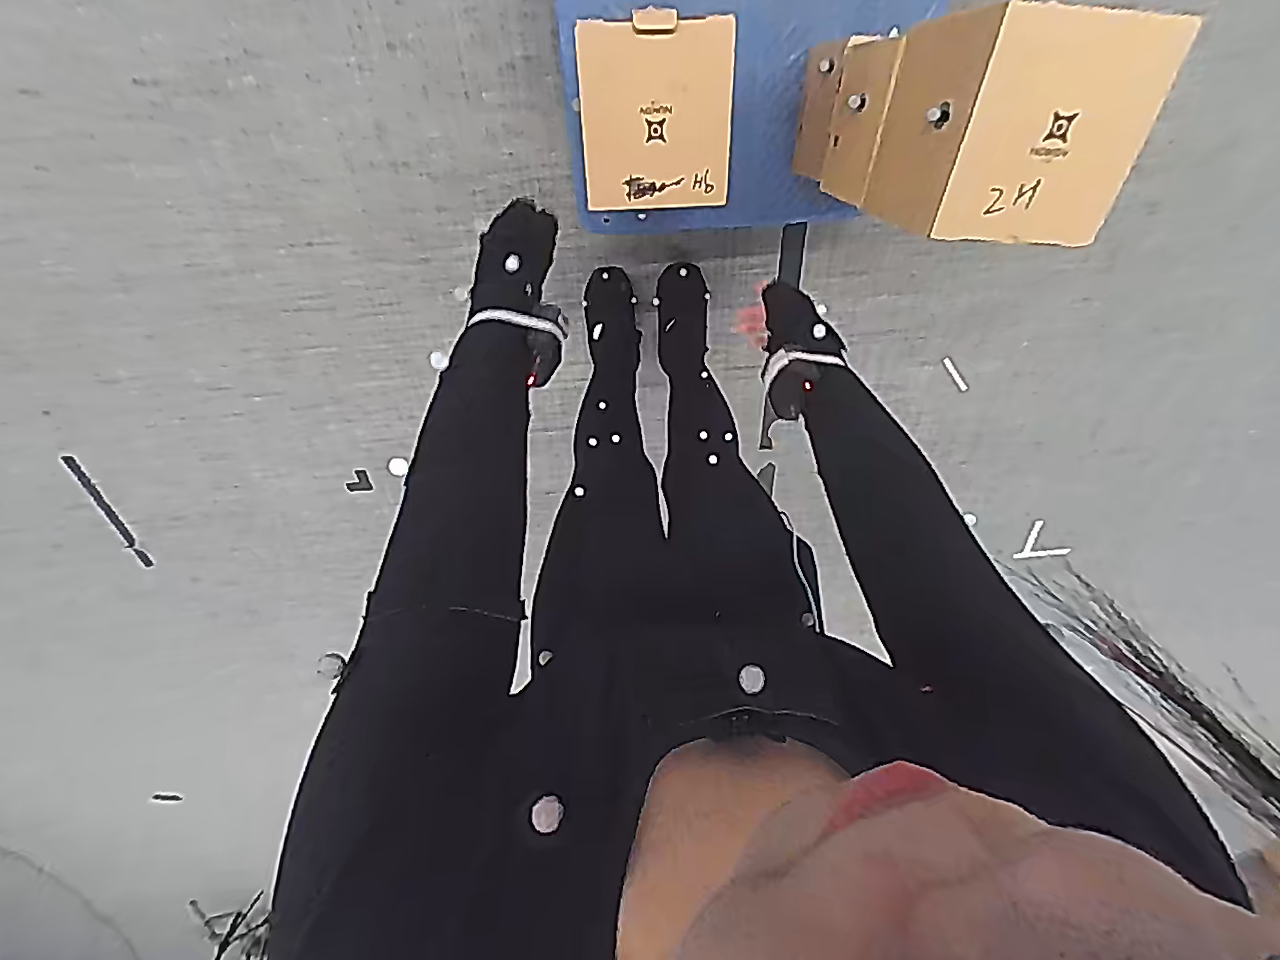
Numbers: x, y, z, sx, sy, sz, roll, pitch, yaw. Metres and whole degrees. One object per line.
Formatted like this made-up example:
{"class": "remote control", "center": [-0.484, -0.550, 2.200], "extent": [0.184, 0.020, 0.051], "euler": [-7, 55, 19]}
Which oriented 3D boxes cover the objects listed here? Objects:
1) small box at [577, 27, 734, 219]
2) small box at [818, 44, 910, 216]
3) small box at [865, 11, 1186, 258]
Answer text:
{"class": "small box", "center": [0.014, -0.429, 0.661], "extent": [0.168, 0.176, 0.179], "euler": [-2, 124, -1]}
{"class": "small box", "center": [0.344, -0.430, 0.678], "extent": [0.179, 0.176, 0.168], "euler": [0, 125, -4]}
{"class": "small box", "center": [0.352, -0.338, 0.542], "extent": [0.168, 0.176, 0.179], "euler": [2, 125, -4]}
